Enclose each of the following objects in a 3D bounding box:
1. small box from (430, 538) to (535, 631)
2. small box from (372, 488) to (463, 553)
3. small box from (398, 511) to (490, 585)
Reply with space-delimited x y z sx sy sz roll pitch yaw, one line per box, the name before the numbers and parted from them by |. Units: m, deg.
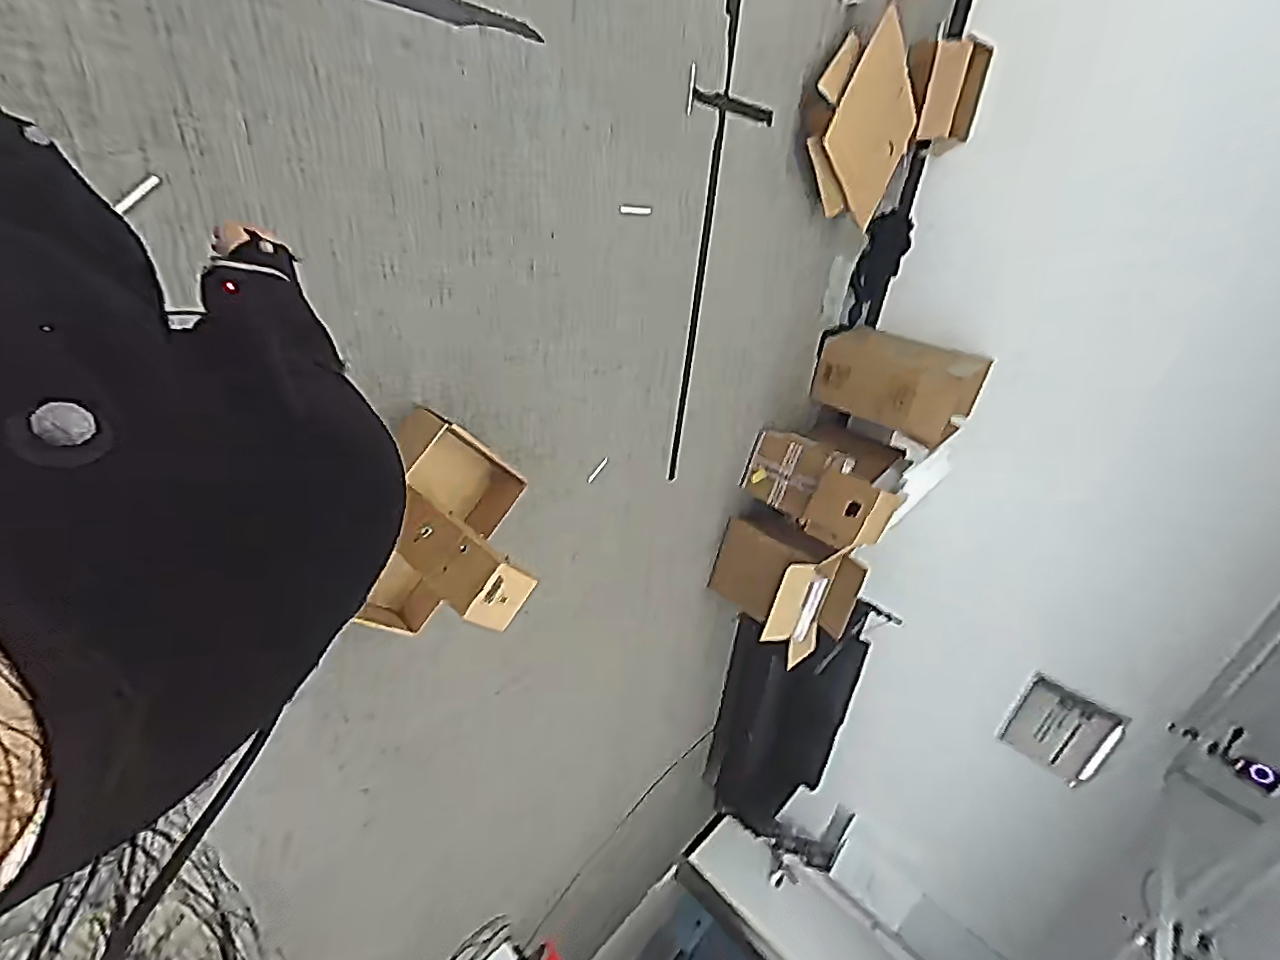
small box | -0.426 0.278 1.458 0.168 0.176 0.179 -55 146 -10
small box | -0.664 0.148 1.639 0.168 0.176 0.179 -54 144 -12
small box | -0.547 0.213 1.548 0.168 0.176 0.179 -55 144 -11
